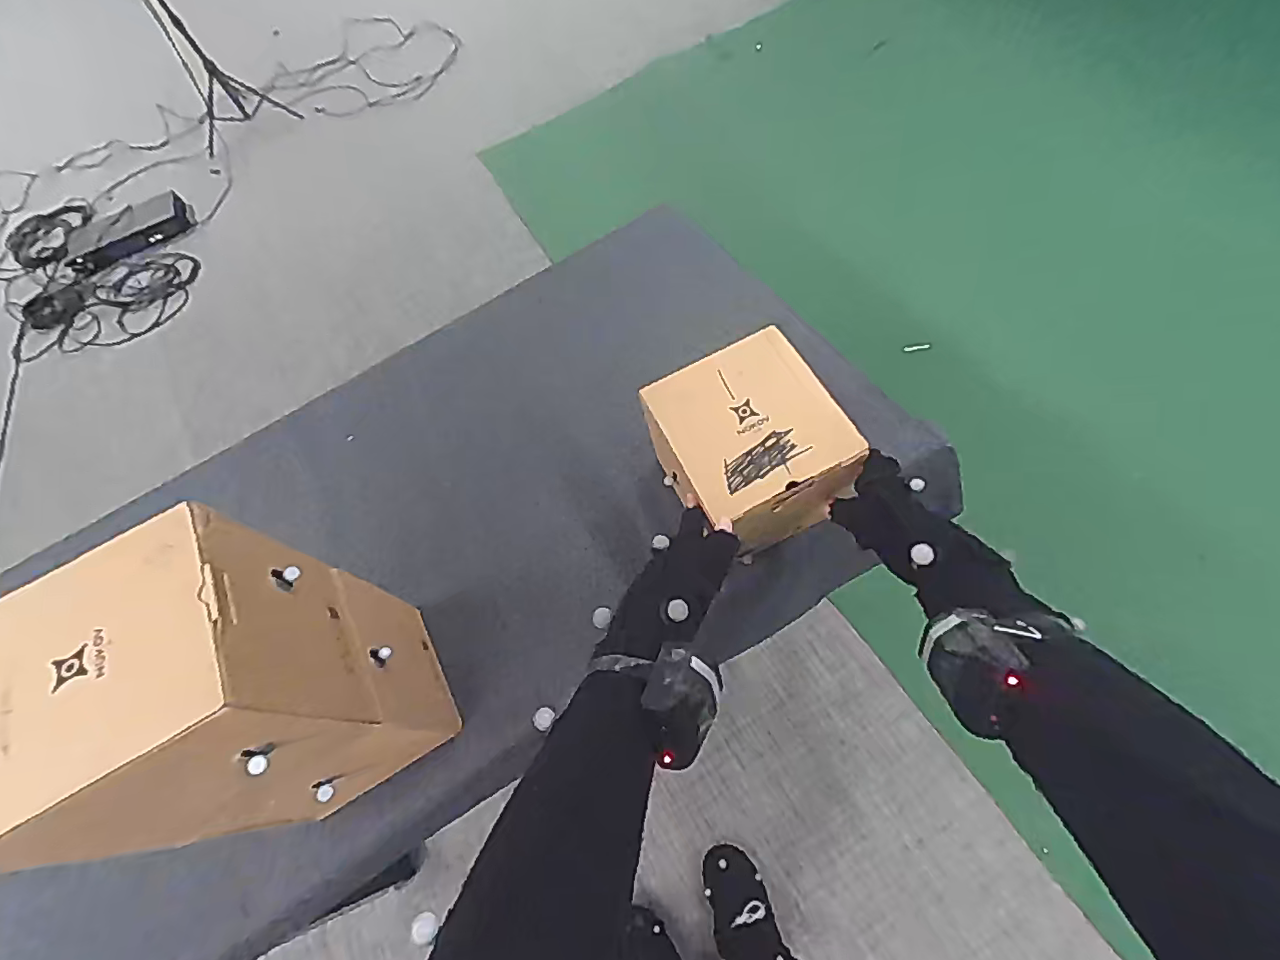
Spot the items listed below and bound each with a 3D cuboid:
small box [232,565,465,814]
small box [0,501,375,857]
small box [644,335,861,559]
[{"bbox_3d":[-0.319,0.223,0.569,0.179,0.176,0.168,-30,63,-7],"label":"small box"},{"bbox_3d":[-0.339,0.152,0.425,0.179,0.176,0.168,-31,61,-7],"label":"small box"},{"bbox_3d":[0.123,-0.025,0.625,0.168,0.176,0.179,-25,63,-2],"label":"small box"}]
